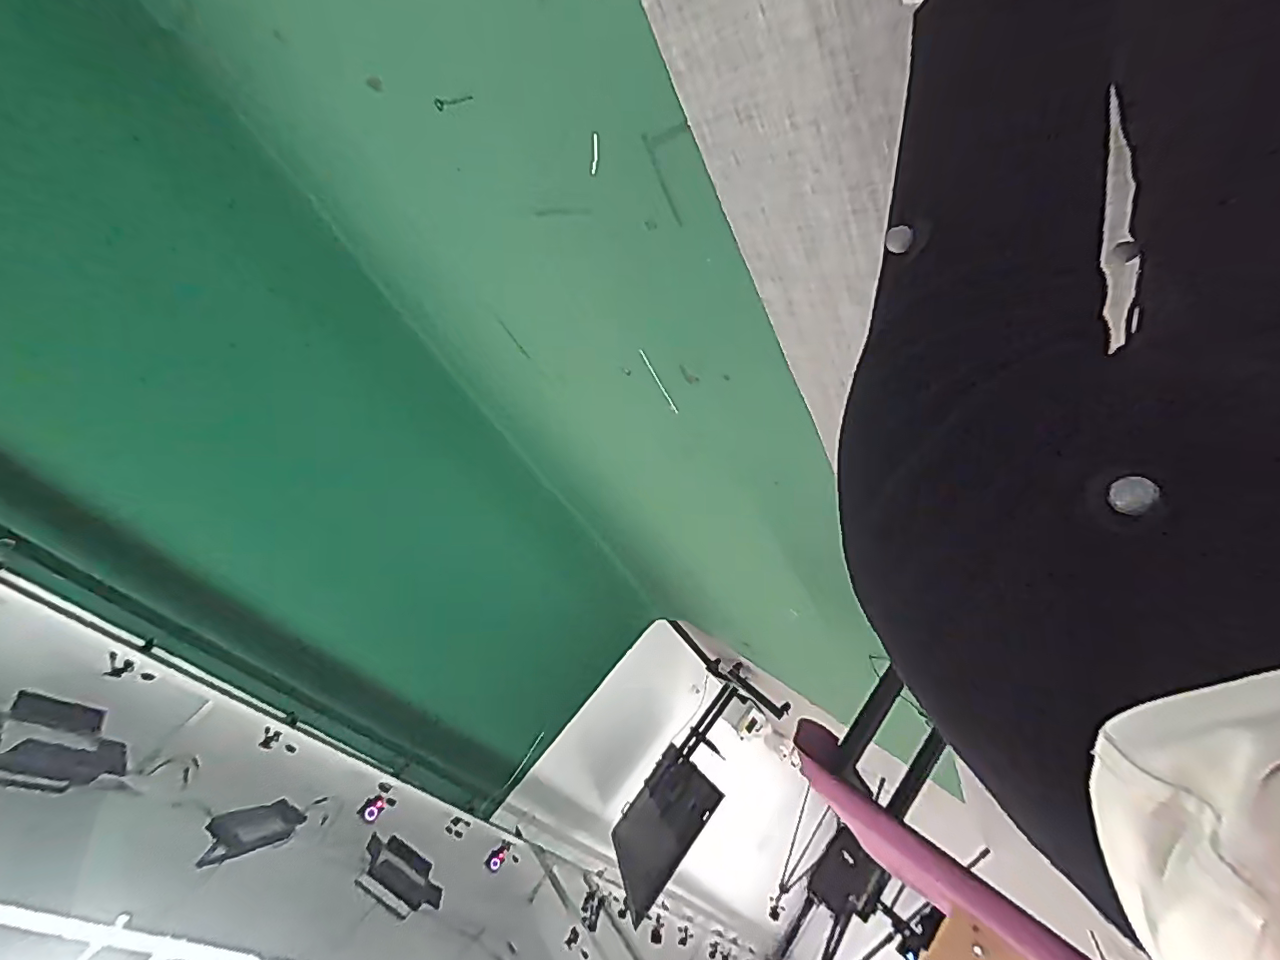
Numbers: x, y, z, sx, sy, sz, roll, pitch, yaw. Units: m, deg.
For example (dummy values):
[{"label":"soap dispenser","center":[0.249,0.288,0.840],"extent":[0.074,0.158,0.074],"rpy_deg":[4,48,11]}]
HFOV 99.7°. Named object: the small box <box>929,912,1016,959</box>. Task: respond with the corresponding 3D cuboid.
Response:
[{"label":"small box","center":[0.809,1.186,1.281],"extent":[0.168,0.176,0.179],"rpy_deg":[16,148,54]}]
